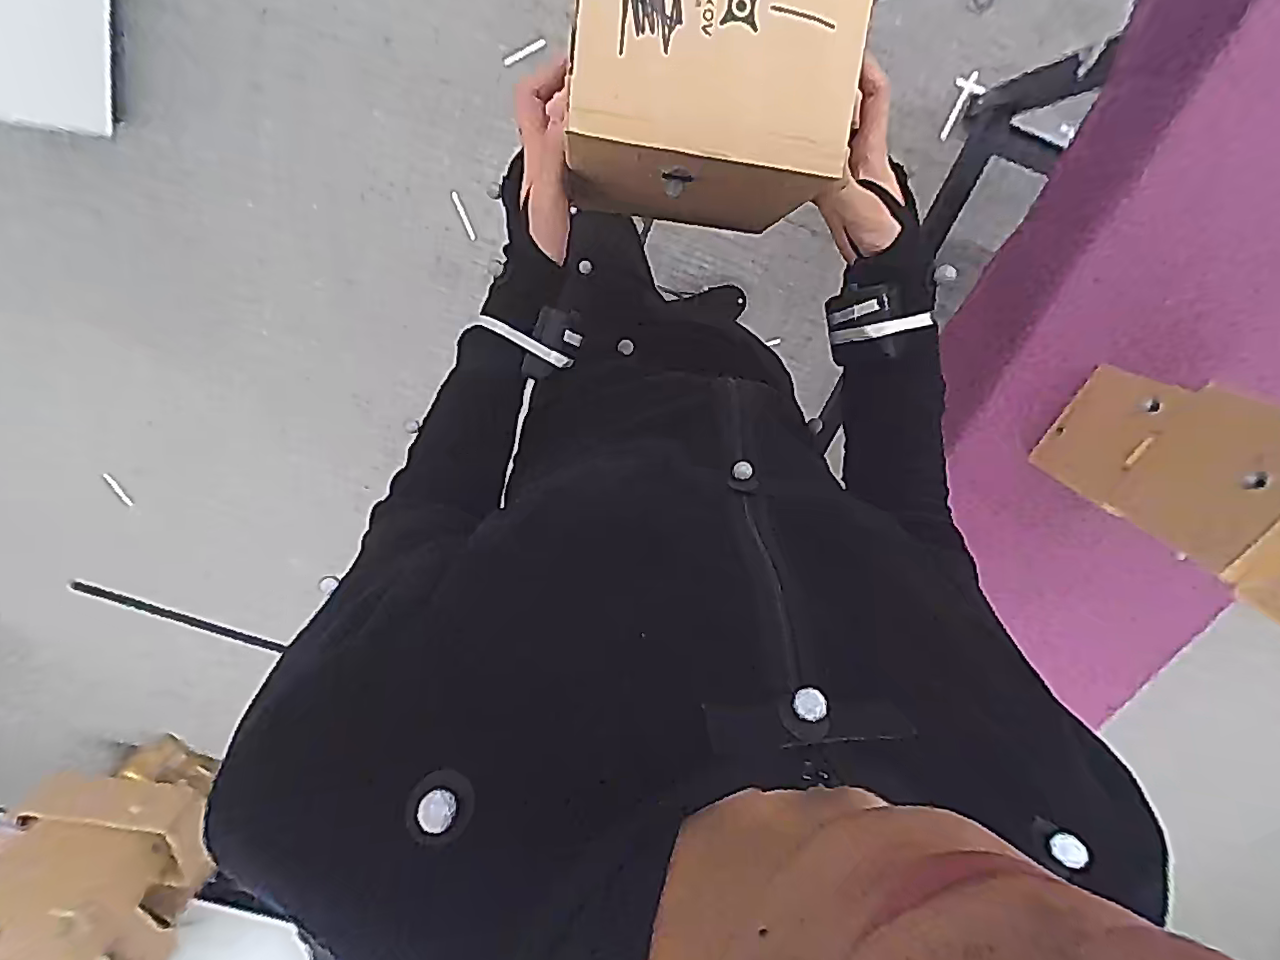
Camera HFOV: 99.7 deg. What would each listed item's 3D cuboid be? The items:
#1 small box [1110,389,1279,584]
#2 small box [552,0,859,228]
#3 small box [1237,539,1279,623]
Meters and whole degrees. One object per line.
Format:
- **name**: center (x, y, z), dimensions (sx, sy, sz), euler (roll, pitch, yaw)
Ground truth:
- **small box**: center (0.701, 0.019, 0.605), dimensions (0.168, 0.176, 0.179), euler (21, 115, -6)
- **small box**: center (0.036, -0.294, 0.390), dimensions (0.179, 0.176, 0.168), euler (4, 102, -6)
- **small box**: center (0.707, 0.099, 0.462), dimensions (0.179, 0.176, 0.168), euler (13, 115, -4)
